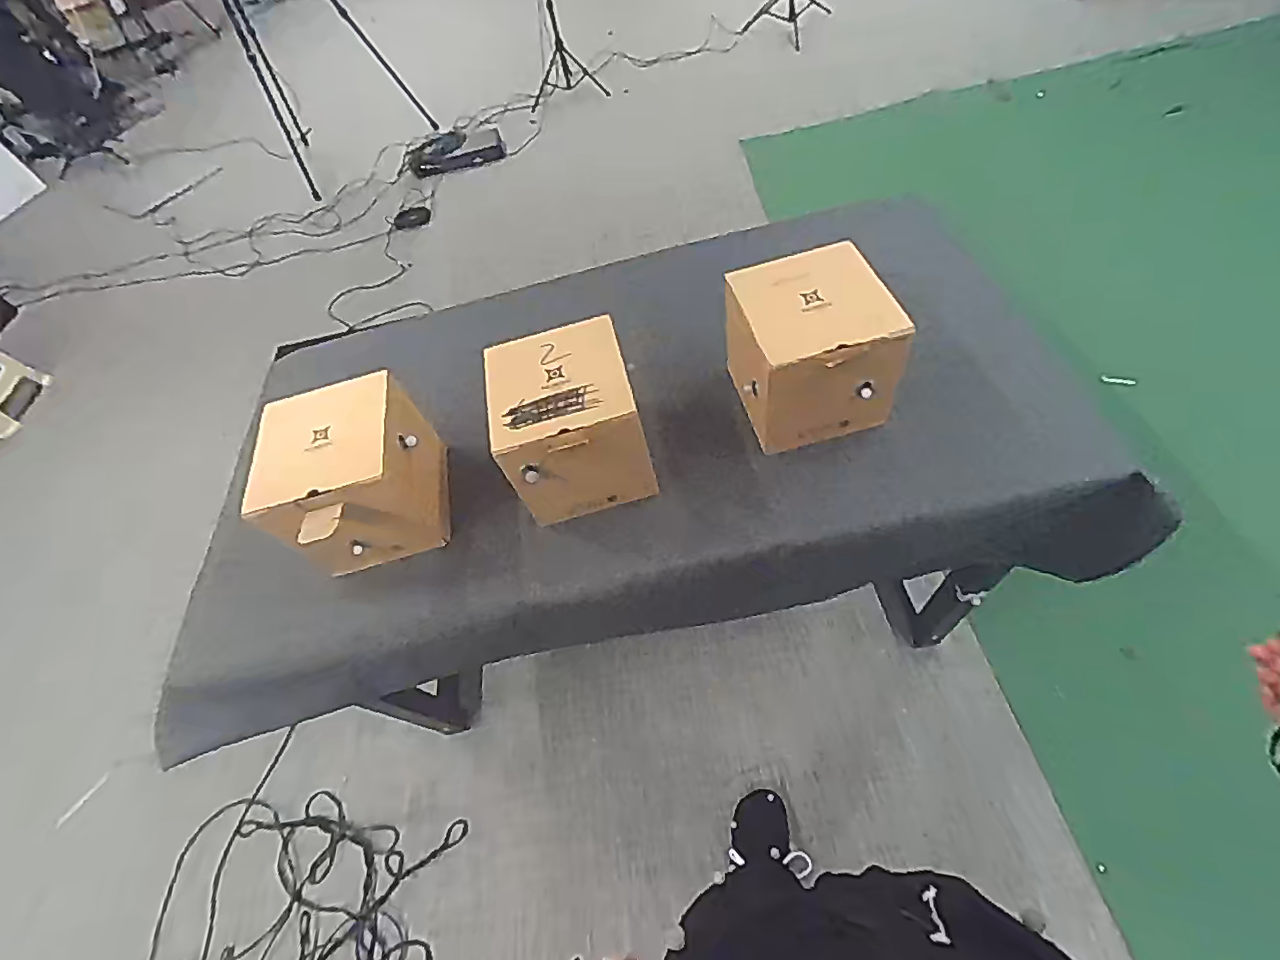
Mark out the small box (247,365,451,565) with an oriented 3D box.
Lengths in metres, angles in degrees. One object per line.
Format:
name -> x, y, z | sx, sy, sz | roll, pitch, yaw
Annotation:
small box -> -0.362, -0.015, 0.709 | 0.168, 0.176, 0.179 | -16, 56, 0

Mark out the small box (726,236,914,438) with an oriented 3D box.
small box -> 0.217, -0.174, 0.697 | 0.168, 0.176, 0.179 | -15, 55, 0
